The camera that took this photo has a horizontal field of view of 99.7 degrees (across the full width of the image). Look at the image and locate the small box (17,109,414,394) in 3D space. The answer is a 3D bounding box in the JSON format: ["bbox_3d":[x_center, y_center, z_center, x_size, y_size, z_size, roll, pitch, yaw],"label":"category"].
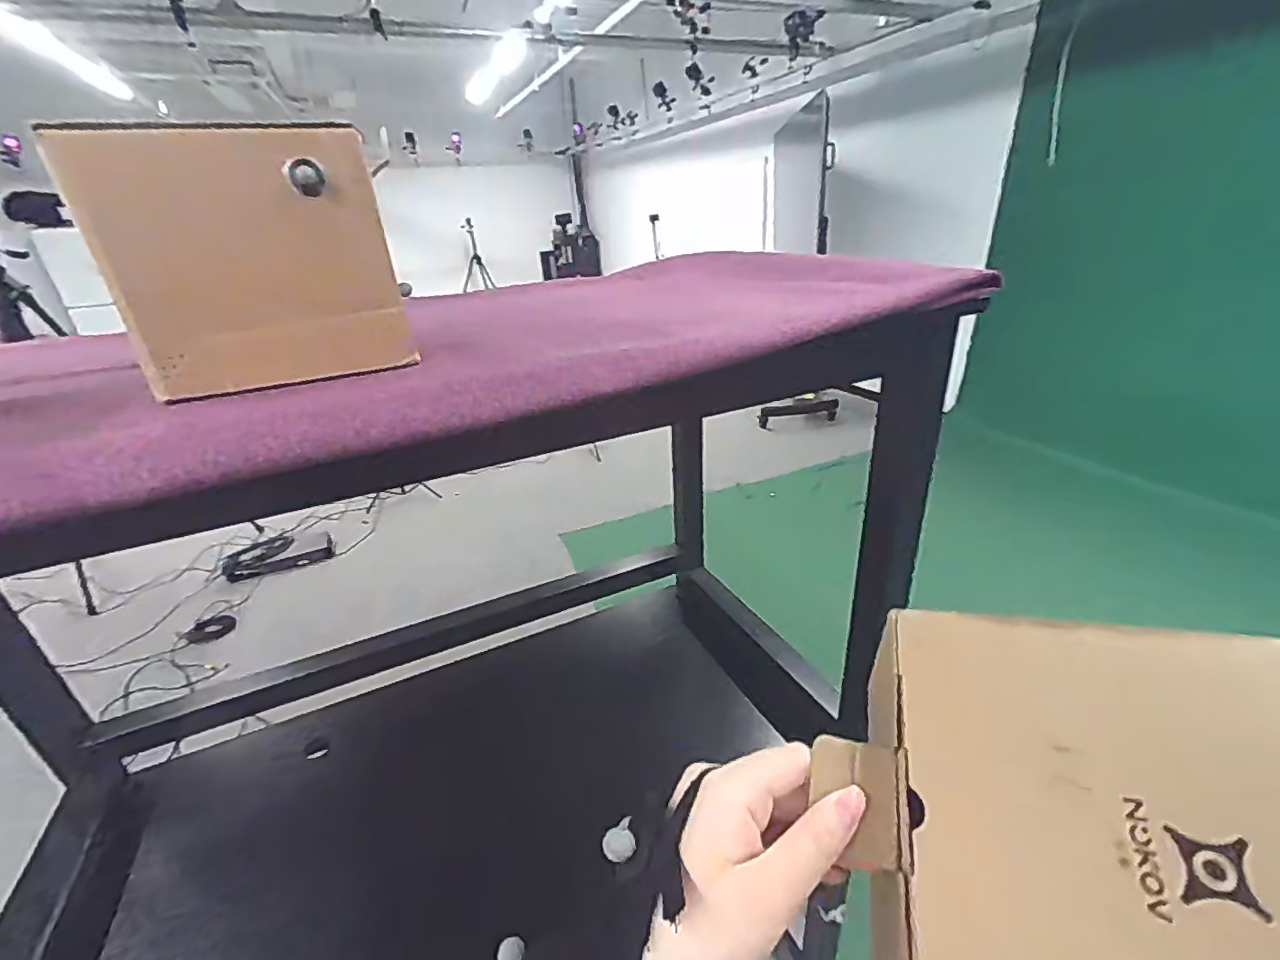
[{"bbox_3d":[-0.296,-0.174,0.429,0.179,0.176,0.168,-15,26,-21],"label":"small box"}]
